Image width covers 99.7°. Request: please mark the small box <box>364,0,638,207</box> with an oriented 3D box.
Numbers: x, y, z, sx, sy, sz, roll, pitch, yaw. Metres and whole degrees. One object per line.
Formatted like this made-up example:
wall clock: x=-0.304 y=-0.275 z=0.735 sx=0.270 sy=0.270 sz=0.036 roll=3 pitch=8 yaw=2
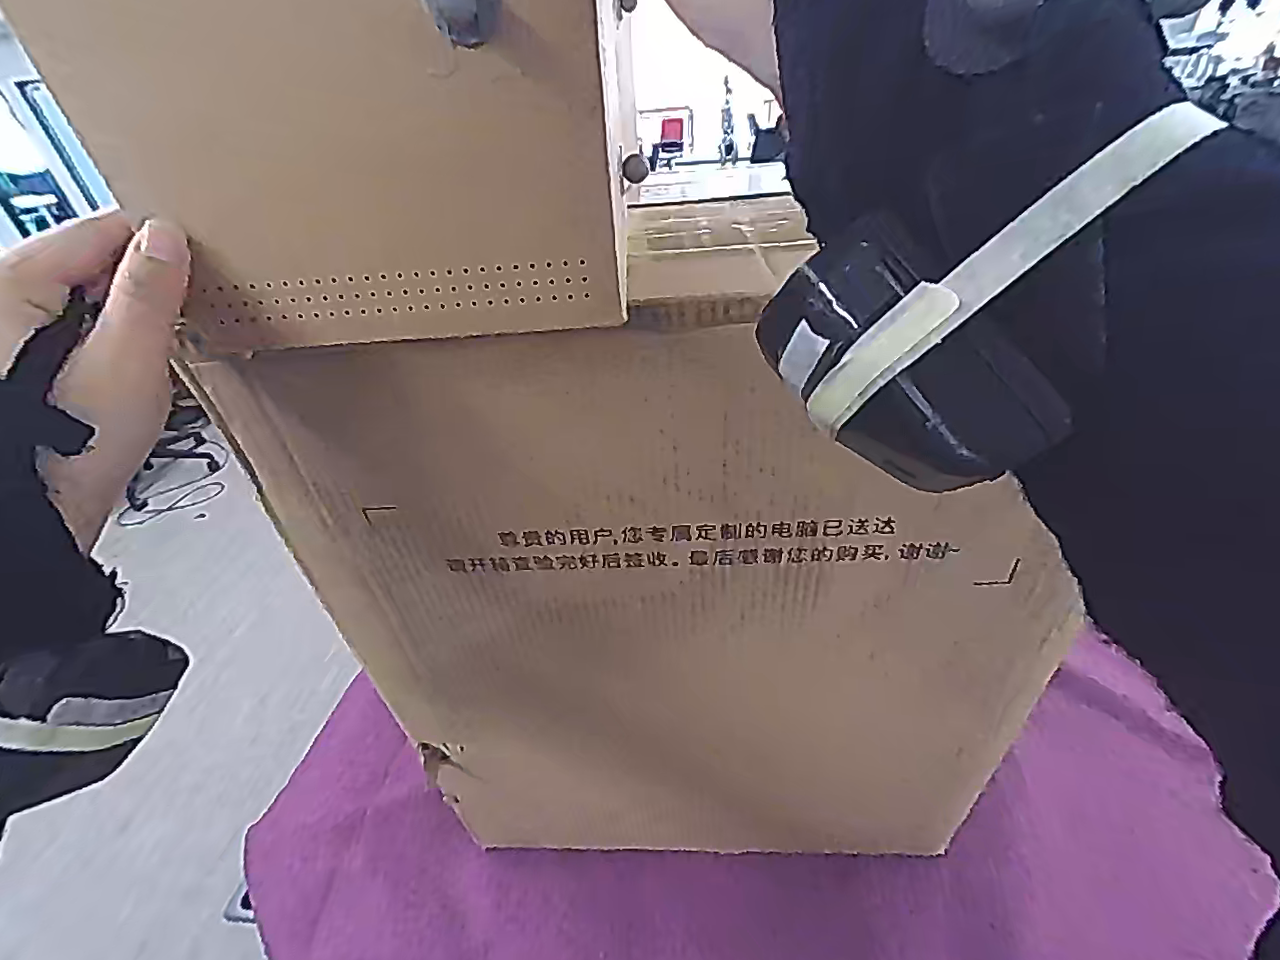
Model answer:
small box: x=-0.094 y=-0.332 z=0.452 sx=0.168 sy=0.176 sz=0.179 roll=1 pitch=36 yaw=7
